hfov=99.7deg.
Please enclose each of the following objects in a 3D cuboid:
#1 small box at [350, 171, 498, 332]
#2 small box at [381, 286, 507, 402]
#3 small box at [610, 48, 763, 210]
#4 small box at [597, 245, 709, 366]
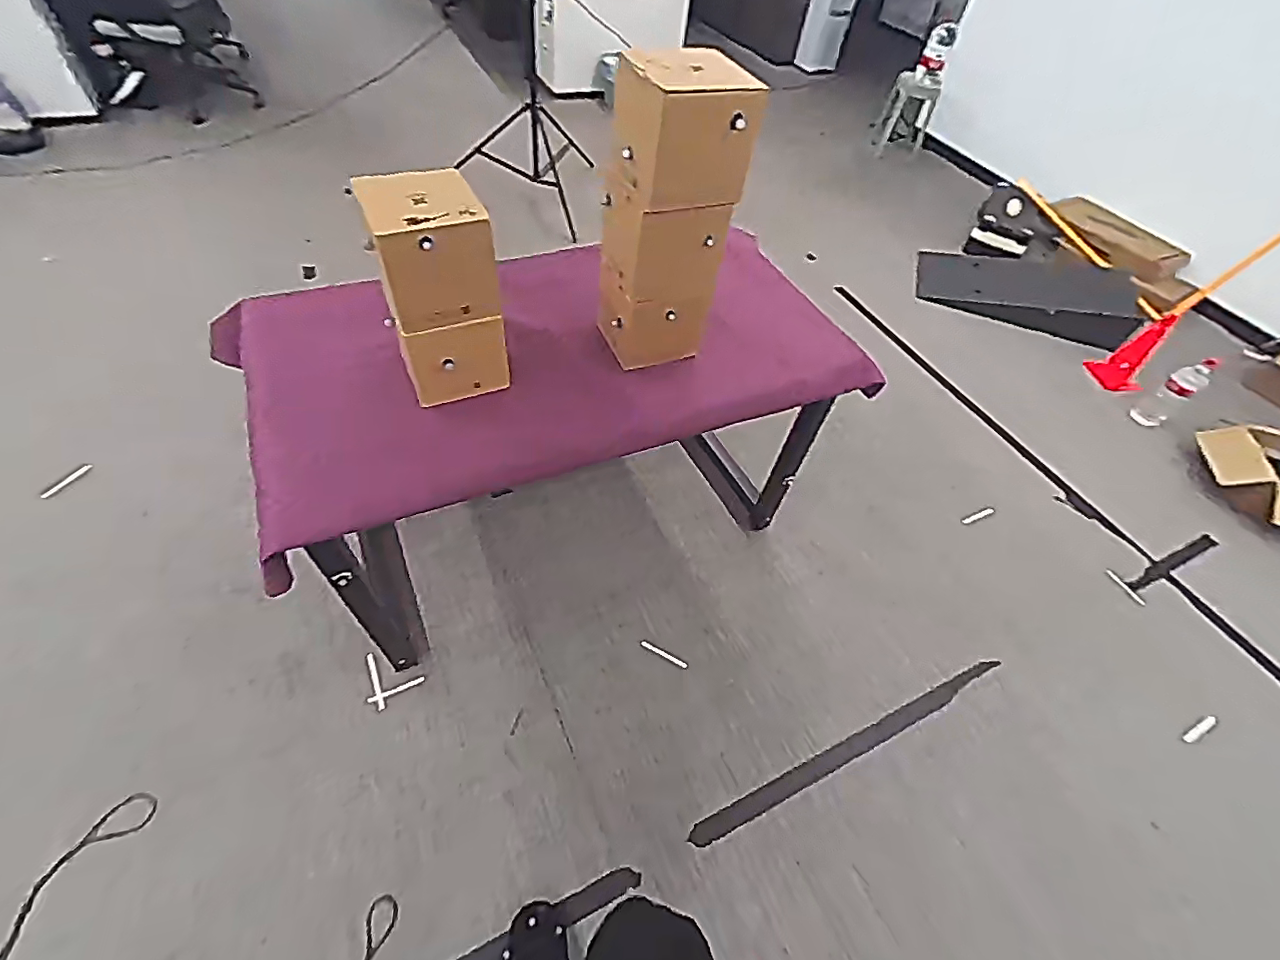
[{"bbox_3d":[-0.342,-0.369,0.875,0.168,0.176,0.179,-21,57,-21],"label":"small box"},{"bbox_3d":[-0.356,-0.264,1.000,0.168,0.176,0.179,-19,57,-20],"label":"small box"},{"bbox_3d":[0.062,-0.557,0.861,0.179,0.176,0.168,-17,57,-19],"label":"small box"},{"bbox_3d":[0.018,-0.357,1.120,0.179,0.176,0.168,-16,57,-20],"label":"small box"}]
